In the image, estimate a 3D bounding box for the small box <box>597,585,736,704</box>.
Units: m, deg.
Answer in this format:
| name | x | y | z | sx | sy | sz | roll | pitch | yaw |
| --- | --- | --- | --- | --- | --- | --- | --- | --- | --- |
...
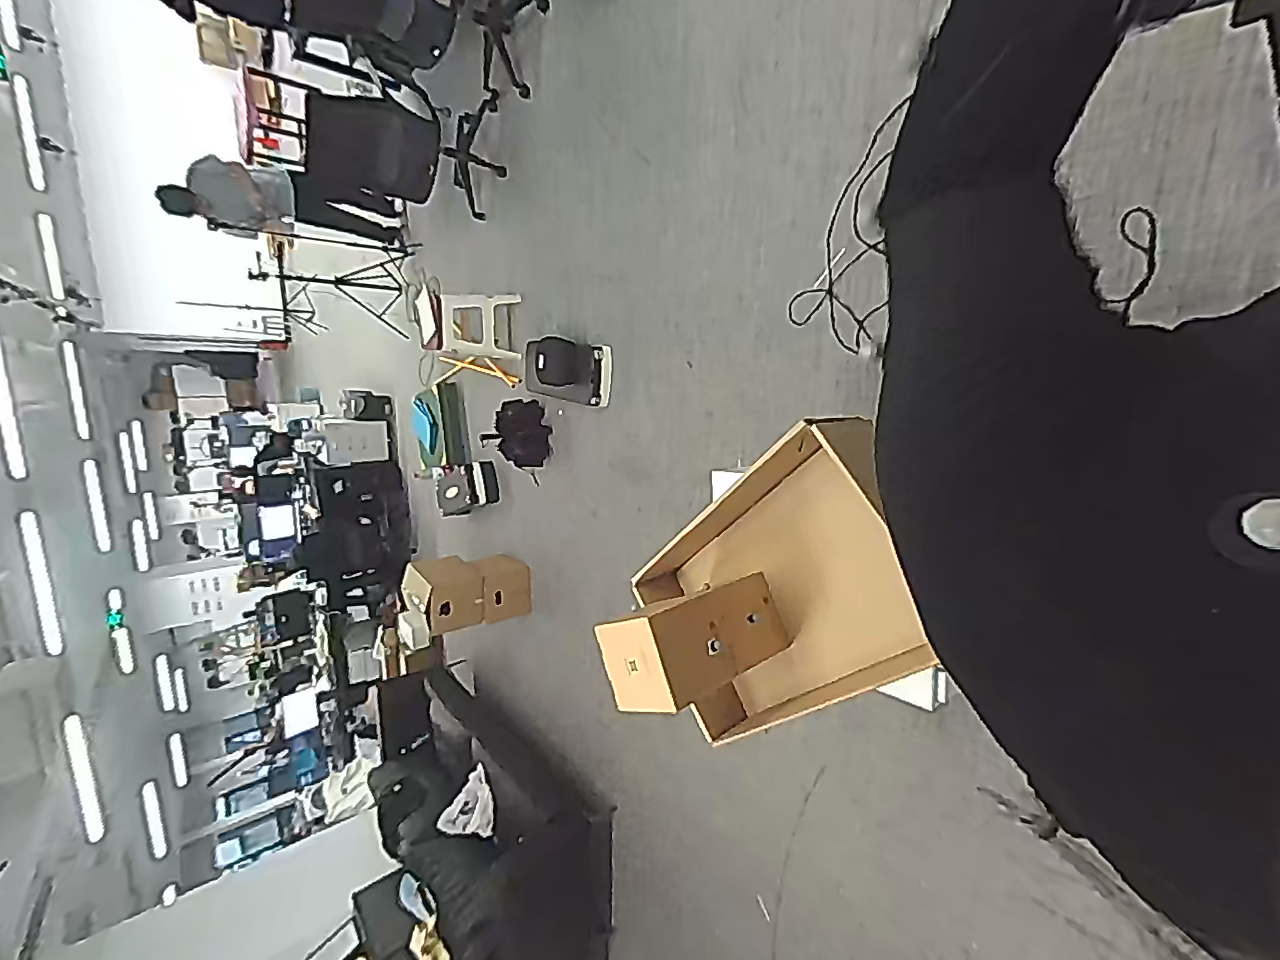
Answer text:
| name | x | y | z | sx | sy | sz | roll | pitch | yaw |
| --- | --- | --- | --- | --- | --- | --- | --- | --- | --- |
| small box | 0.049 | 0.312 | 1.031 | 0.179 | 0.176 | 0.168 | -28 | 78 | 48 |
